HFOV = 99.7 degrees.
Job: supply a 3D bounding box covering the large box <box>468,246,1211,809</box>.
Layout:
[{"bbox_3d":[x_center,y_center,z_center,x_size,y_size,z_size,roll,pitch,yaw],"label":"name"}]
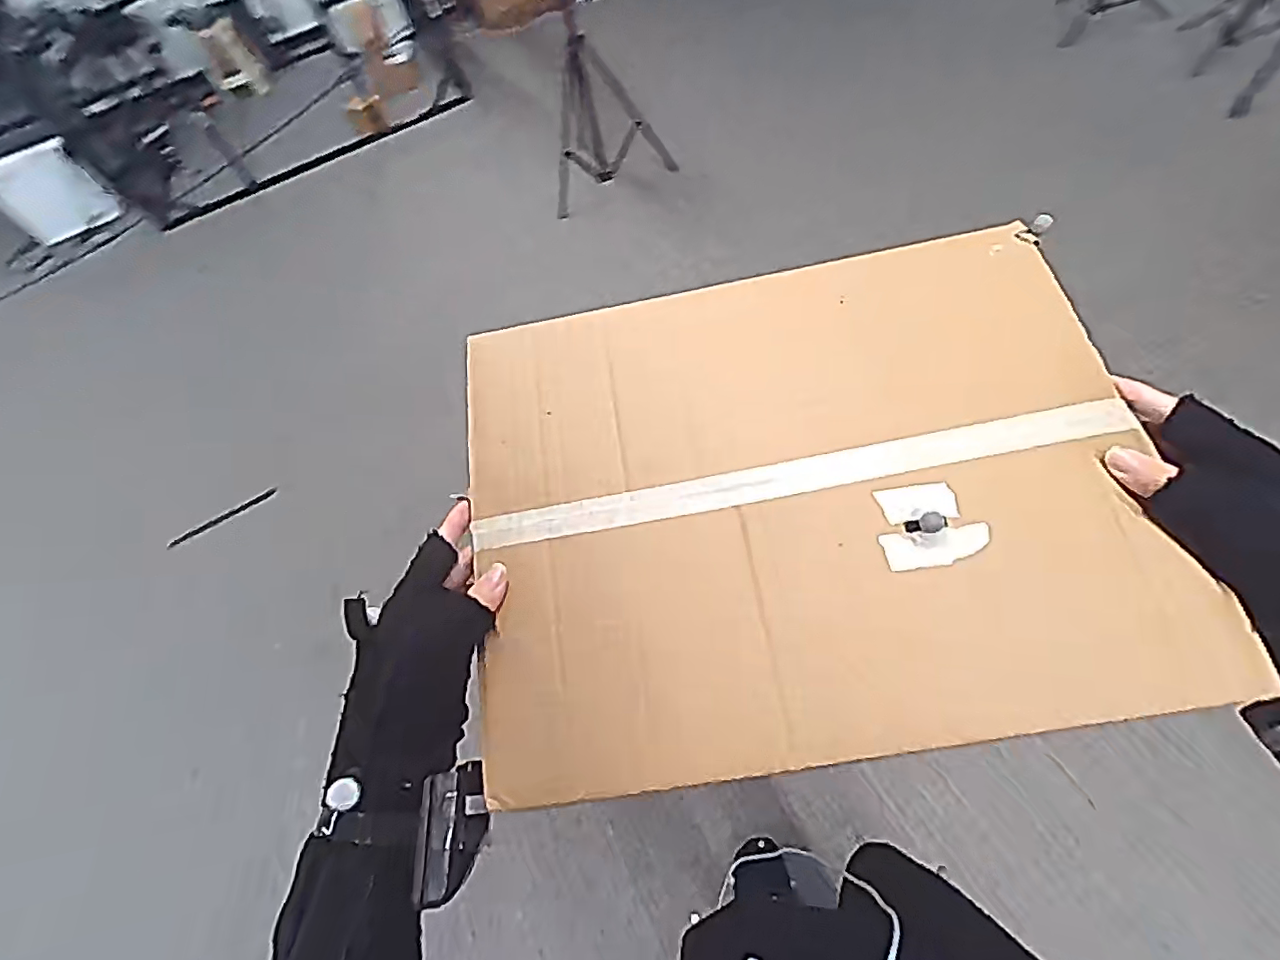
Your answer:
[{"bbox_3d":[0.102,0.059,0.488,0.408,0.320,0.320,-12,68,2],"label":"large box"}]
